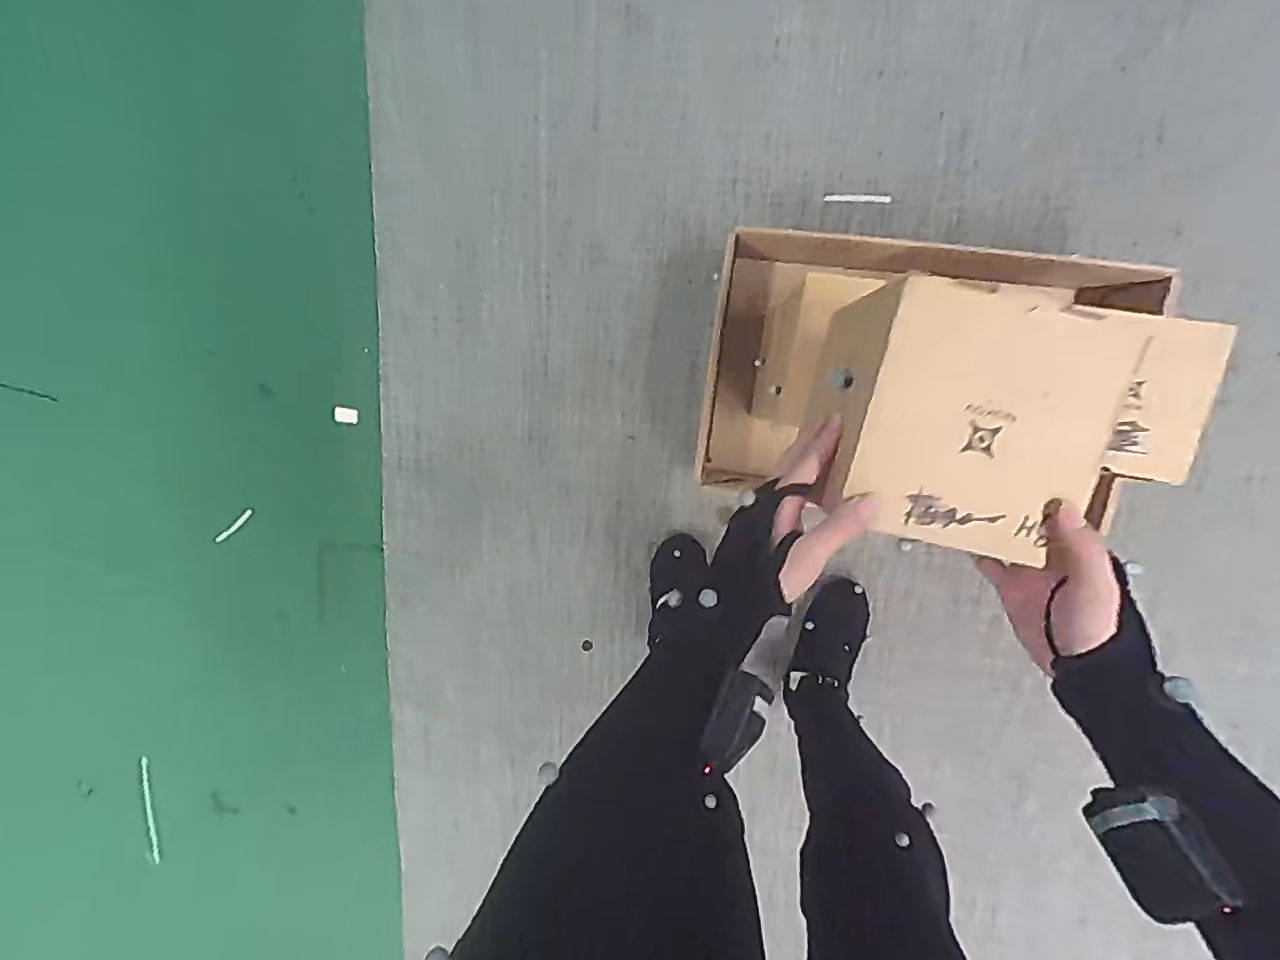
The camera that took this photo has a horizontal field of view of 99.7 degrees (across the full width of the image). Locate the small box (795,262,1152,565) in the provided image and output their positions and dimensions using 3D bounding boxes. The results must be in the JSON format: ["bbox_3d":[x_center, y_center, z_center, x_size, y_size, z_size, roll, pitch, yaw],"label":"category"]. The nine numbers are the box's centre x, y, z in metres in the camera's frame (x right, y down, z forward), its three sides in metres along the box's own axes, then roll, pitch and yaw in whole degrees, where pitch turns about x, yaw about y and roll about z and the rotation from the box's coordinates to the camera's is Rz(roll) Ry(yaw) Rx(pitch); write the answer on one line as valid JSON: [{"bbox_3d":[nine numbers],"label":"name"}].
[{"bbox_3d":[0.242,-0.052,0.446,0.168,0.176,0.179,14,98,1],"label":"small box"}]

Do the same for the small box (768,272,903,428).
[{"bbox_3d":[0.266,-0.148,0.688,0.168,0.176,0.179,9,100,4],"label":"small box"}]

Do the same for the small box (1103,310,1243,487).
[{"bbox_3d":[0.544,-0.102,0.662,0.168,0.176,0.179,10,100,6],"label":"small box"}]
